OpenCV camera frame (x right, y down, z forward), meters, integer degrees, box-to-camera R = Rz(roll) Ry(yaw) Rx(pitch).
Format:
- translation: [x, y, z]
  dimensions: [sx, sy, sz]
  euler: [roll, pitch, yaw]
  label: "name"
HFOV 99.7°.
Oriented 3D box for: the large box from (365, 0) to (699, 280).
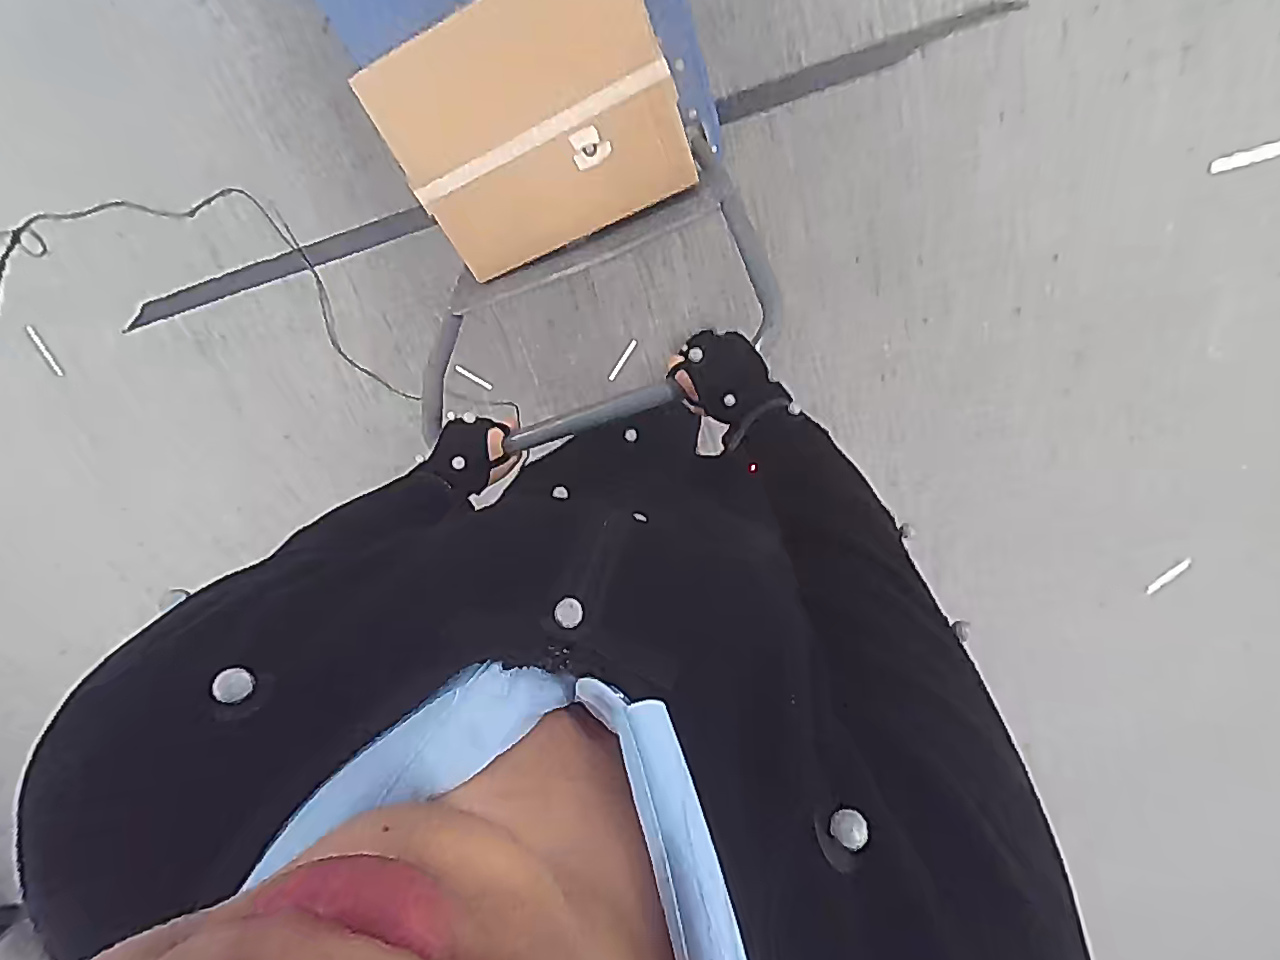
- translation: [-0.155, -0.611, 0.908]
  dimensions: [0.408, 0.320, 0.320]
  euler: [-20, 131, 13]
  label: "large box"
